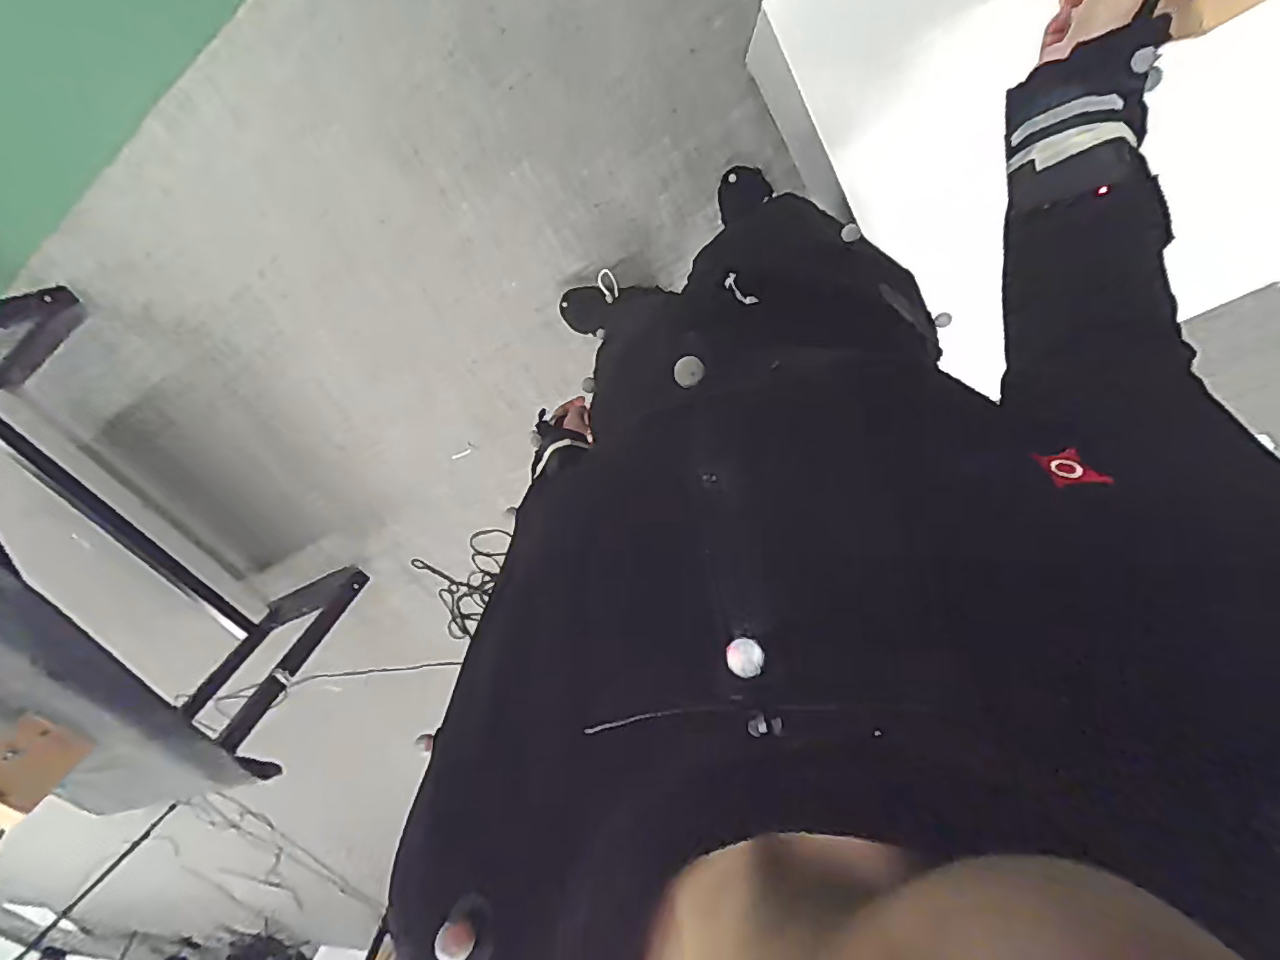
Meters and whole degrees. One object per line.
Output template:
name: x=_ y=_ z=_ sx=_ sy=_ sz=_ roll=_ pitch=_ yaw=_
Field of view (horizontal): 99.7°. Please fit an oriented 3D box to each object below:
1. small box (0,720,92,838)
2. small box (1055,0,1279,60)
small box: x=-1.441 y=0.687 z=1.252 sx=0.179 sy=0.176 sz=0.168 roll=-34 pitch=110 yaw=28
small box: x=0.413 y=-0.427 z=0.363 sx=0.179 sy=0.176 sz=0.168 roll=-23 pitch=117 yaw=23
